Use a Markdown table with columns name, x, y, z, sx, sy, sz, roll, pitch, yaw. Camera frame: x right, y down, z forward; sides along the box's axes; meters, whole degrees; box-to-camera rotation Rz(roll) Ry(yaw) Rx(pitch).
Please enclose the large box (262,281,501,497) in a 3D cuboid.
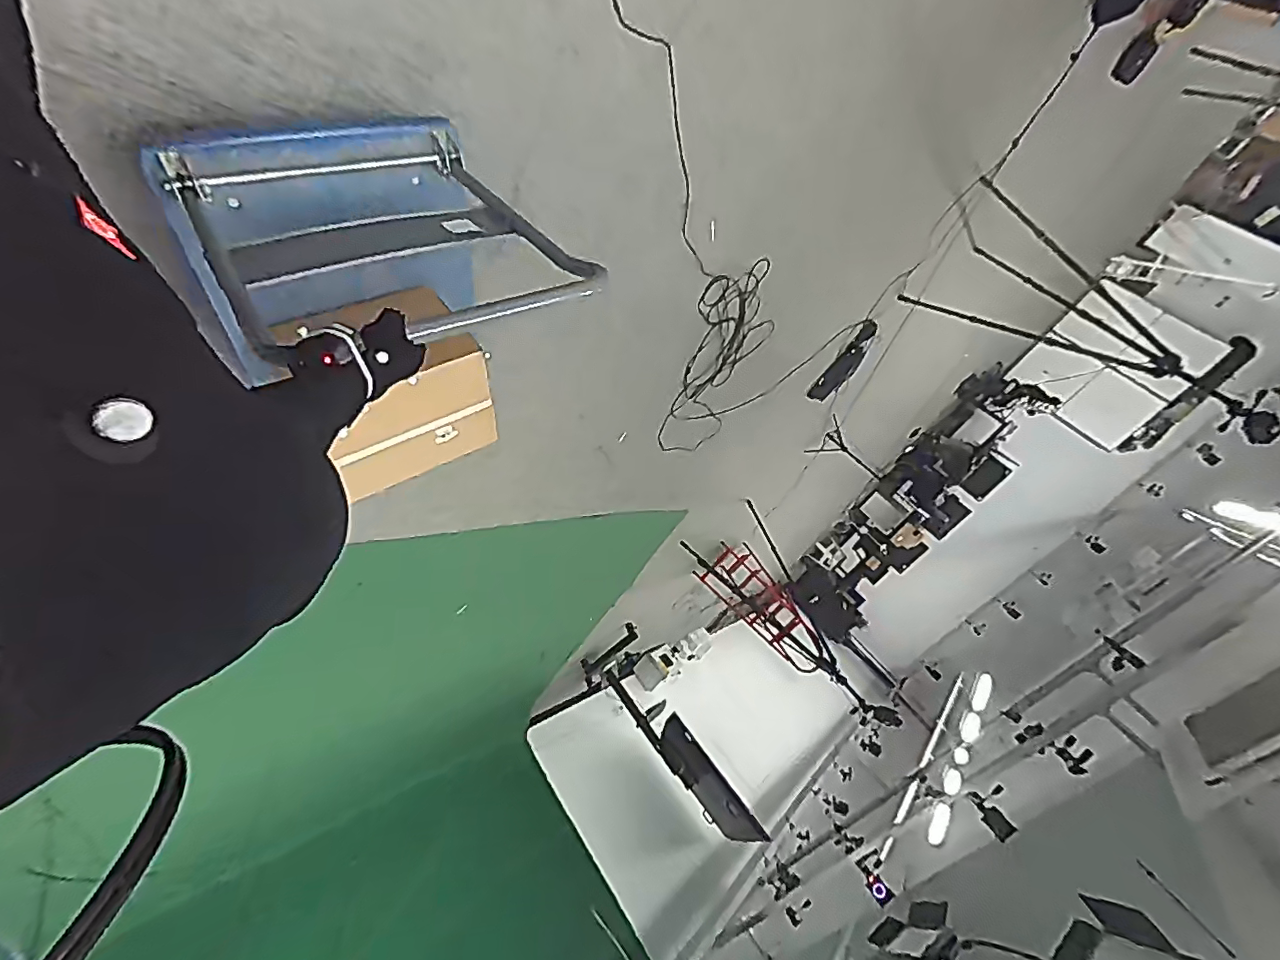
| name | x | y | z | sx | sy | sz | roll | pitch | yaw |
| --- | --- | --- | --- | --- | --- | --- | --- | --- | --- |
| large box | -0.617 | -0.234 | 1.346 | 0.408 | 0.320 | 0.320 | -30 | 152 | -25 |
